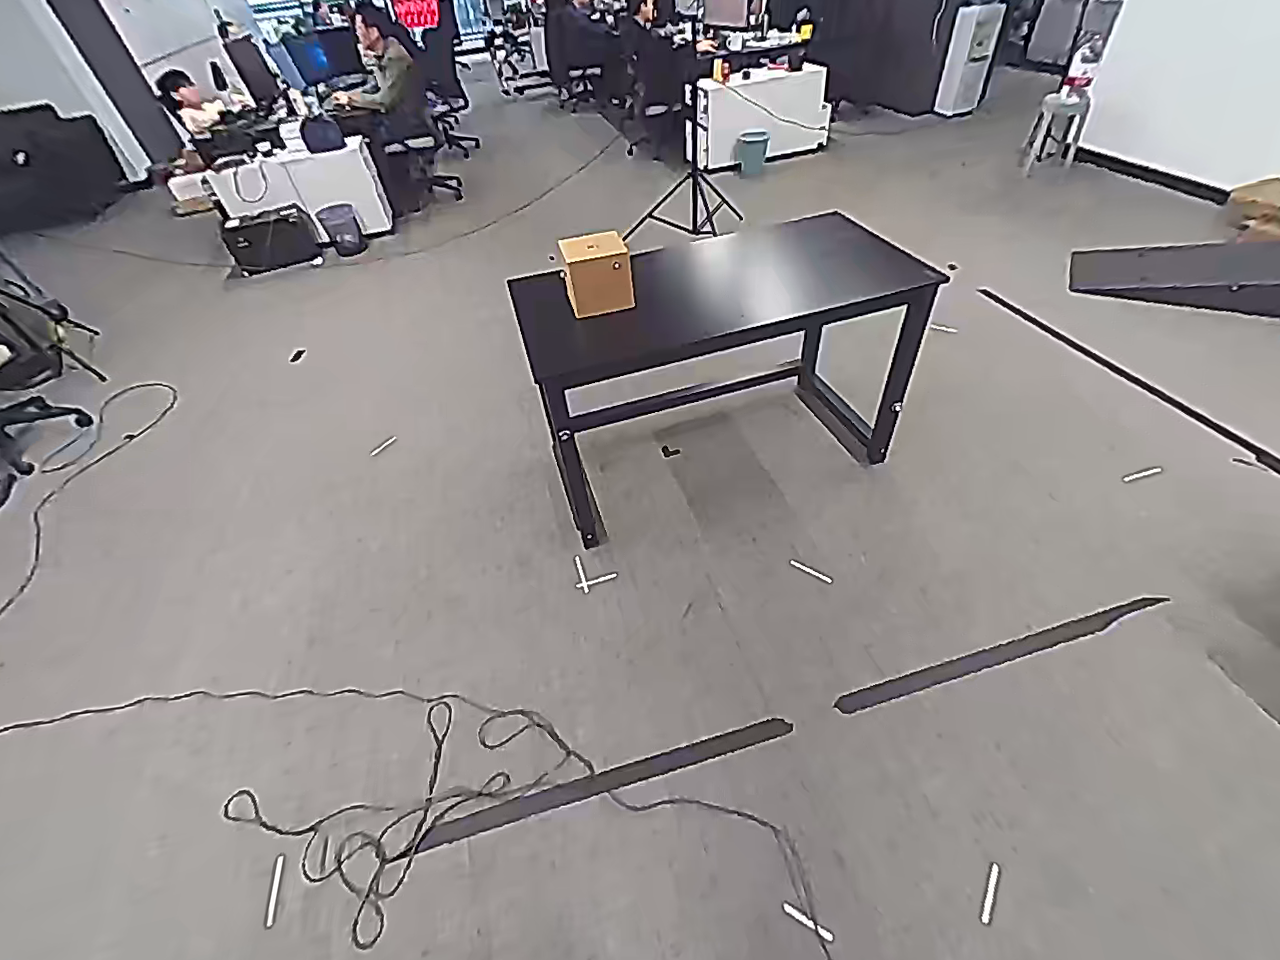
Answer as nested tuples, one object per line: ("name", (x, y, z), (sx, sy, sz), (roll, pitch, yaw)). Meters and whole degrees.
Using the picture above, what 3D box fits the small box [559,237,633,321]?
("small box", (-0.128, -0.585, 1.584), (0.179, 0.176, 0.168), (-14, 46, -8))
